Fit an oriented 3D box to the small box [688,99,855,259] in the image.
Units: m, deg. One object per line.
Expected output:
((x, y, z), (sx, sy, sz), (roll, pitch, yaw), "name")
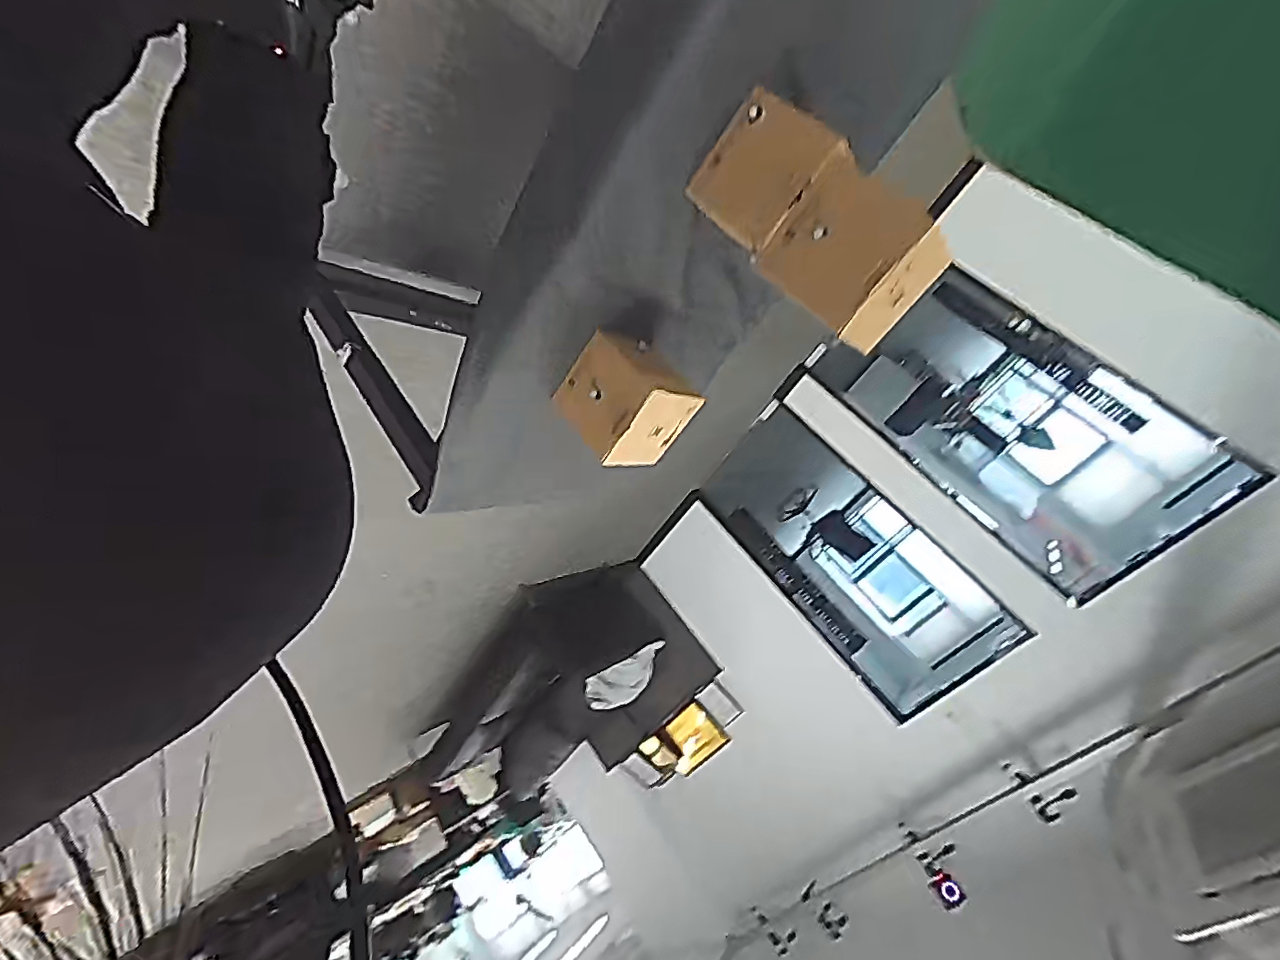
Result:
((0.203, -0.436, 0.825), (0.168, 0.176, 0.179), (-50, 156, 22), "small box")

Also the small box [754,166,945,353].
((0.298, -0.309, 0.775), (0.179, 0.176, 0.168), (-4, 137, -55), "small box")

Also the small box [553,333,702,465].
((-0.027, -0.146, 0.992), (0.168, 0.176, 0.179), (-51, 154, 24), "small box")
